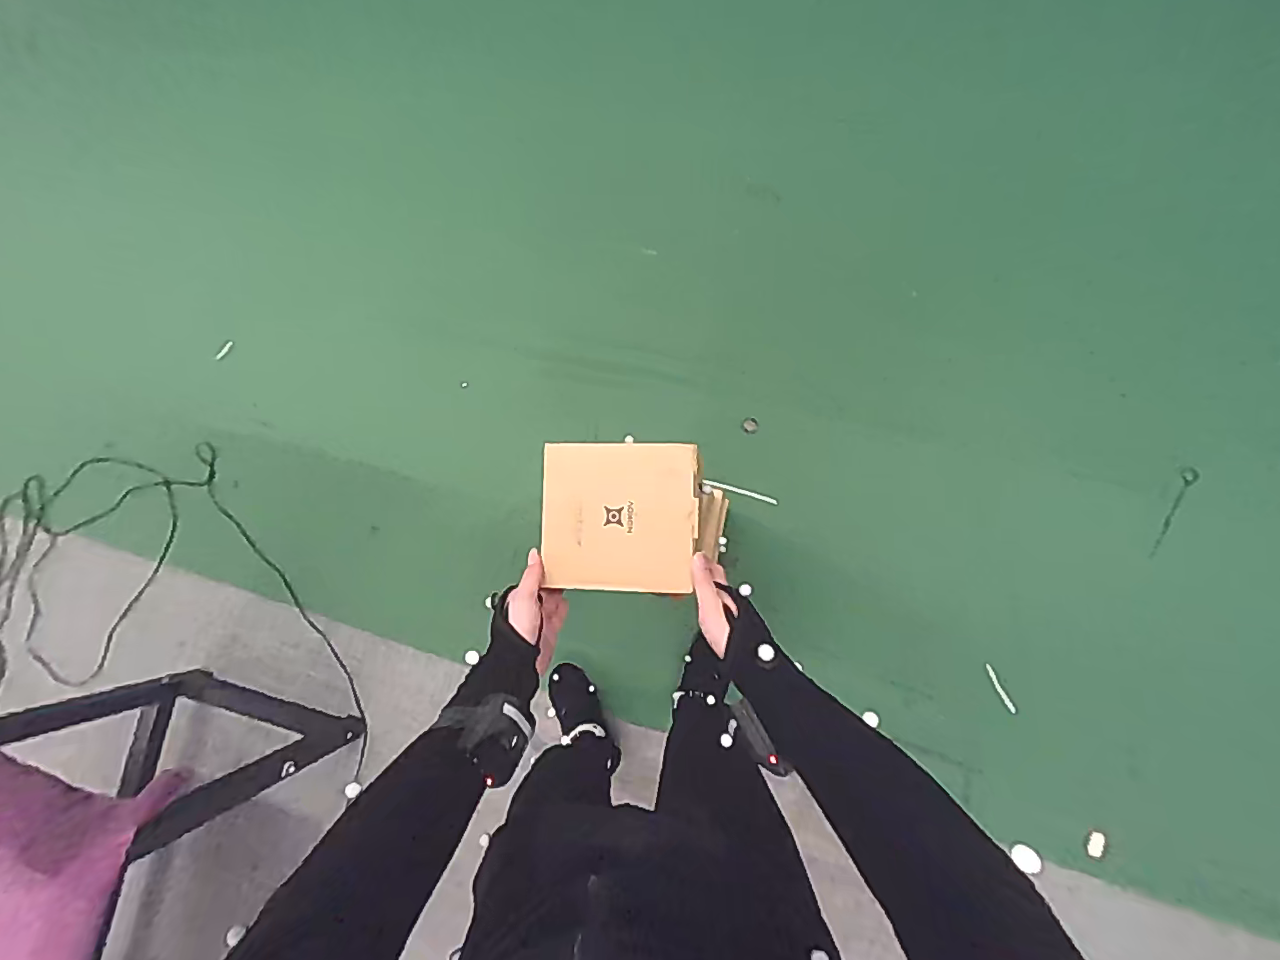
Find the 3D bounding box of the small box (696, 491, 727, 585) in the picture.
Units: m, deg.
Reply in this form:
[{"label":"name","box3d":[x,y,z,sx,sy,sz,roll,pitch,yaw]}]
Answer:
[{"label":"small box","box3d":[0.065,0.098,1.030,0.179,0.176,0.168,10,85,10]}]

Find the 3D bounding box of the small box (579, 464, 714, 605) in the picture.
[{"label":"small box","box3d":[0.021,0.086,0.872,0.168,0.176,0.179,13,86,11]}]
